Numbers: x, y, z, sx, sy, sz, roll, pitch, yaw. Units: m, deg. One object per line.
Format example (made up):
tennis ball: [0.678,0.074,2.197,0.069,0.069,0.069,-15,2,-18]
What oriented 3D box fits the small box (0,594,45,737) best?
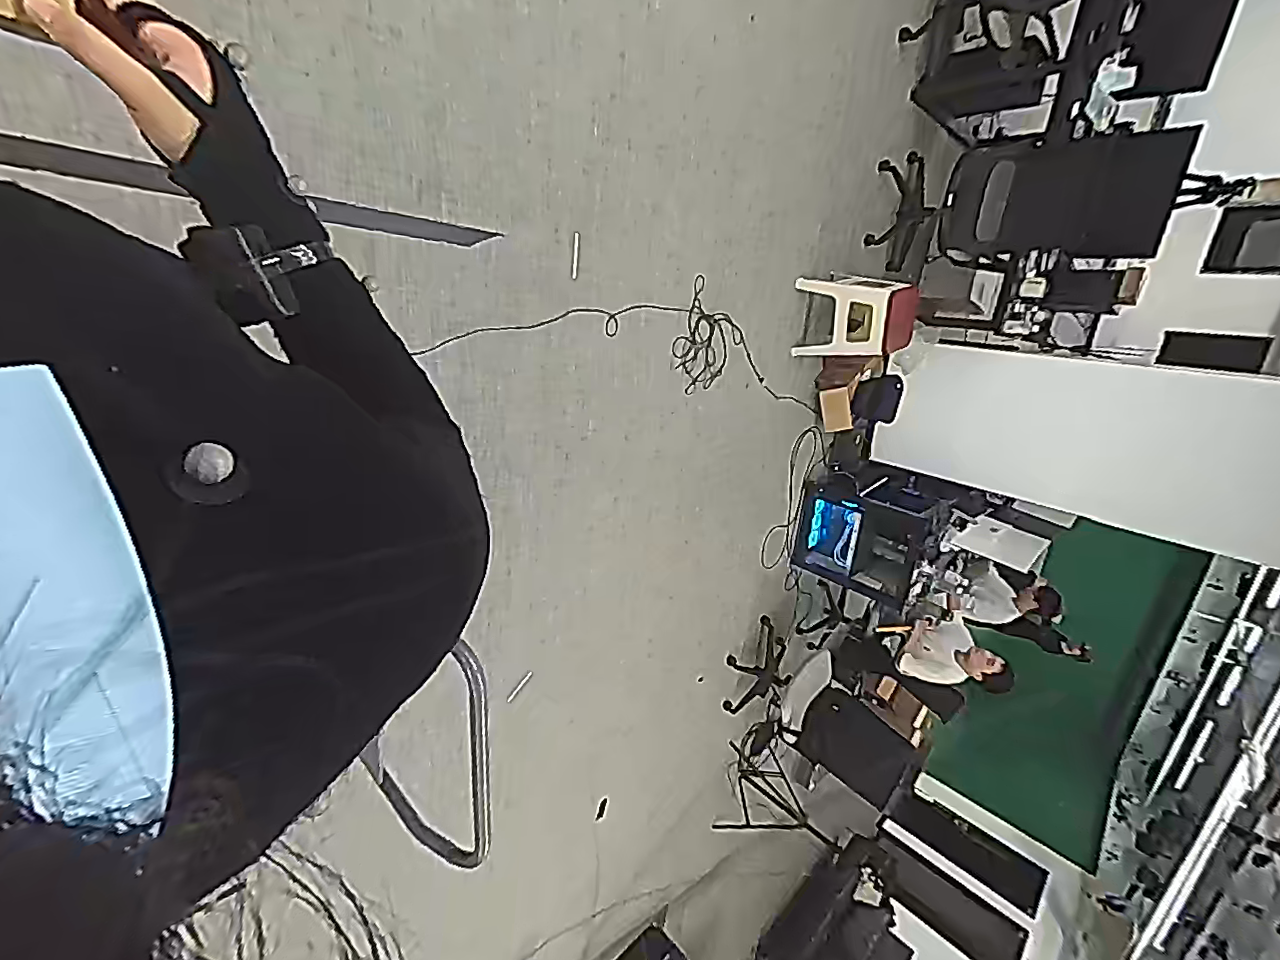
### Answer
small box: [-1.091,0.312,0.863,0.168,0.176,0.179,-14,116,-43]
